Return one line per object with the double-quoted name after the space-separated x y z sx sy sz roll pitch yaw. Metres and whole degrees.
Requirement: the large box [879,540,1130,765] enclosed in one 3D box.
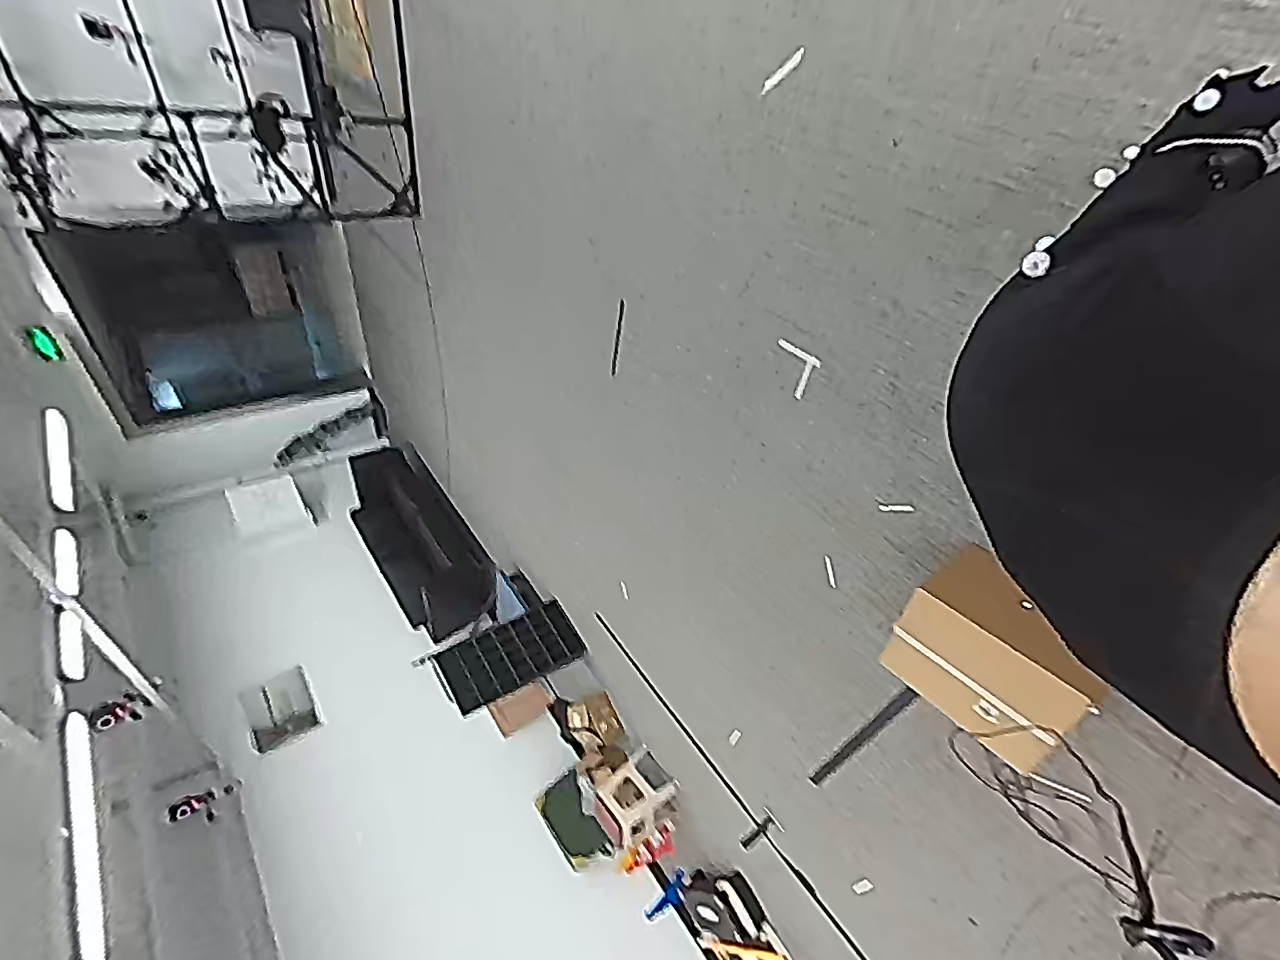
0.928 0.424 1.416 0.408 0.320 0.320 38 137 37 "large box"
